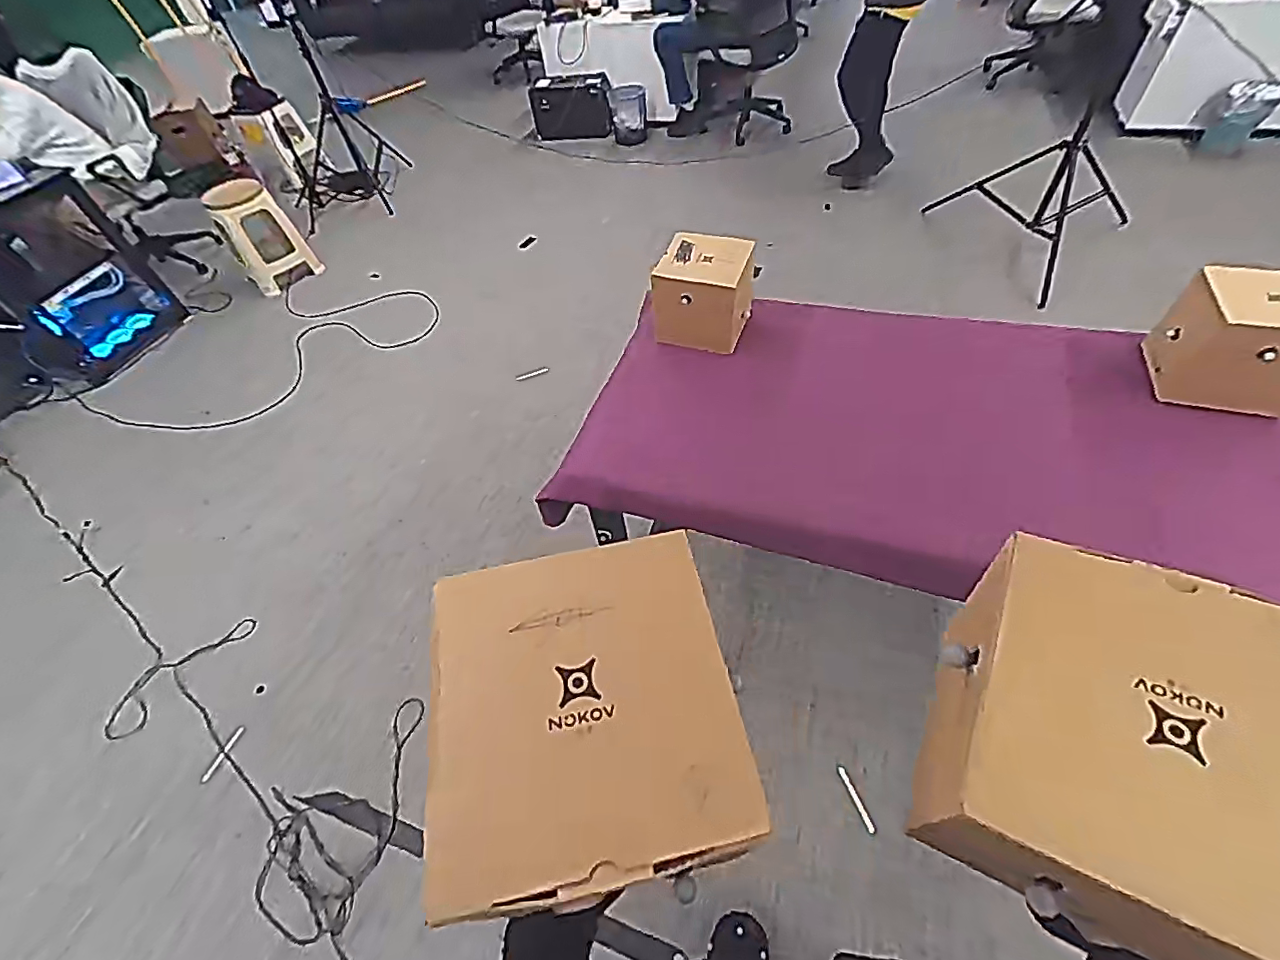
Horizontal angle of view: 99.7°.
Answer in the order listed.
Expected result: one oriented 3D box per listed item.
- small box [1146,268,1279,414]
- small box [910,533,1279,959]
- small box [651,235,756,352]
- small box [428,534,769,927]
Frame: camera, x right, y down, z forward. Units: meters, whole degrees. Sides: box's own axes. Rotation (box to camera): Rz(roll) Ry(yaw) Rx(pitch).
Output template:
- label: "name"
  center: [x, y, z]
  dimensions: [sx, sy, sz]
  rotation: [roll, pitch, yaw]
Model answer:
- label: "small box"
  center: [1.013, -0.234, 0.918]
  dimensions: [0.179, 0.176, 0.168]
  rotation: [13, 55, 16]
- label: "small box"
  center: [0.283, 0.167, 0.336]
  dimensions: [0.168, 0.176, 0.179]
  rotation: [18, 60, 25]
- label: "small box"
  center: [0.136, -0.396, 1.155]
  dimensions: [0.179, 0.176, 0.168]
  rotation: [15, 57, 16]
- label: "small box"
  center: [-0.029, 0.165, 0.362]
  dimensions: [0.168, 0.176, 0.179]
  rotation: [-11, 52, -6]
